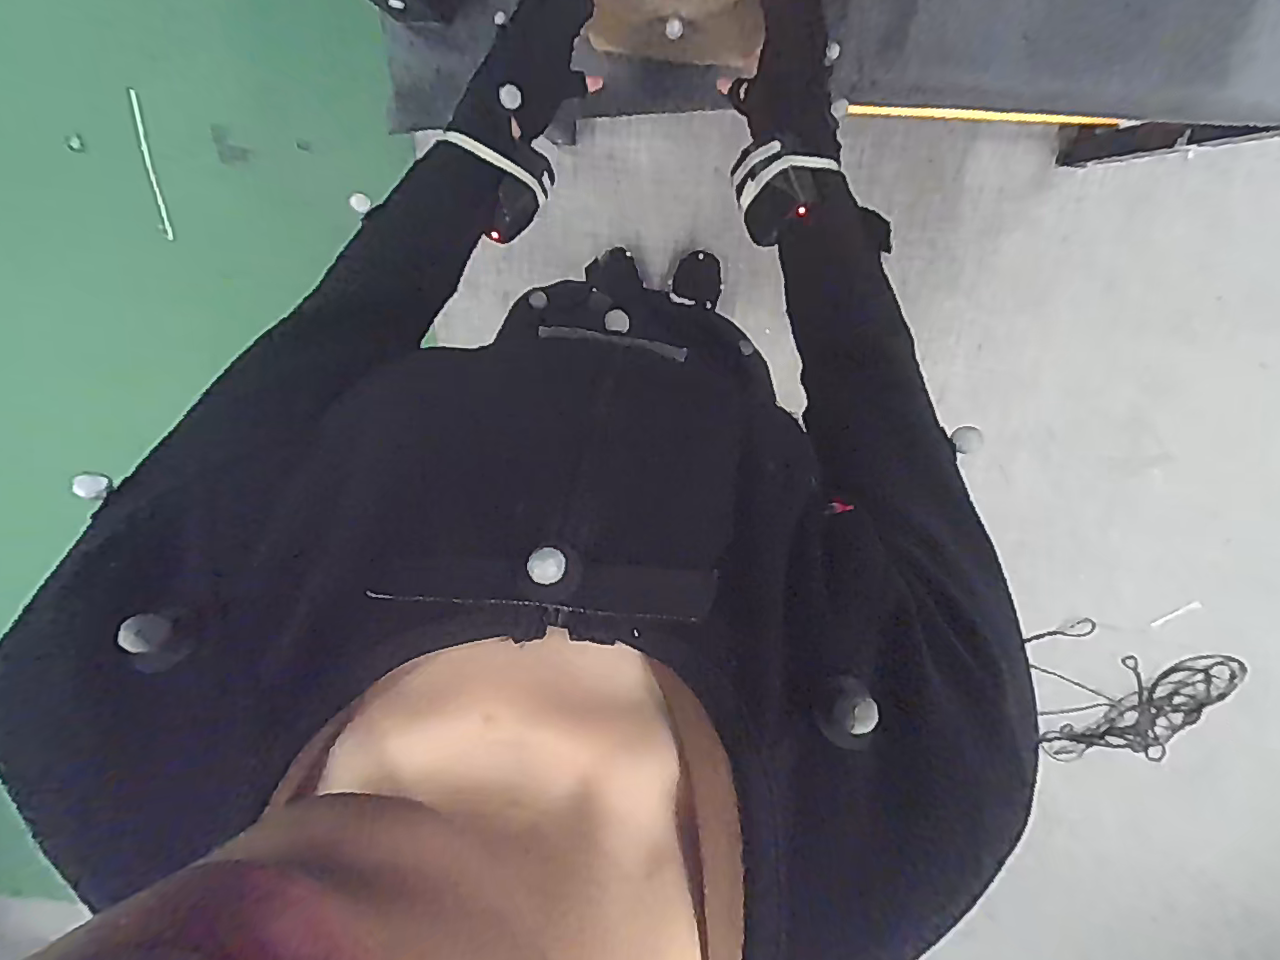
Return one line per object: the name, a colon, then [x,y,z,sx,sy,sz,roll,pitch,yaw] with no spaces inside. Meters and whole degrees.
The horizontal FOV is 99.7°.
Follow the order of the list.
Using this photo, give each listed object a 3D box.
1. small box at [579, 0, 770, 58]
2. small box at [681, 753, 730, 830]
small box: [0.037,-0.479,0.436,0.168,0.176,0.179,7,113,1]
small box: [0.233,1.124,1.956,0.168,0.176,0.179,1,113,3]
